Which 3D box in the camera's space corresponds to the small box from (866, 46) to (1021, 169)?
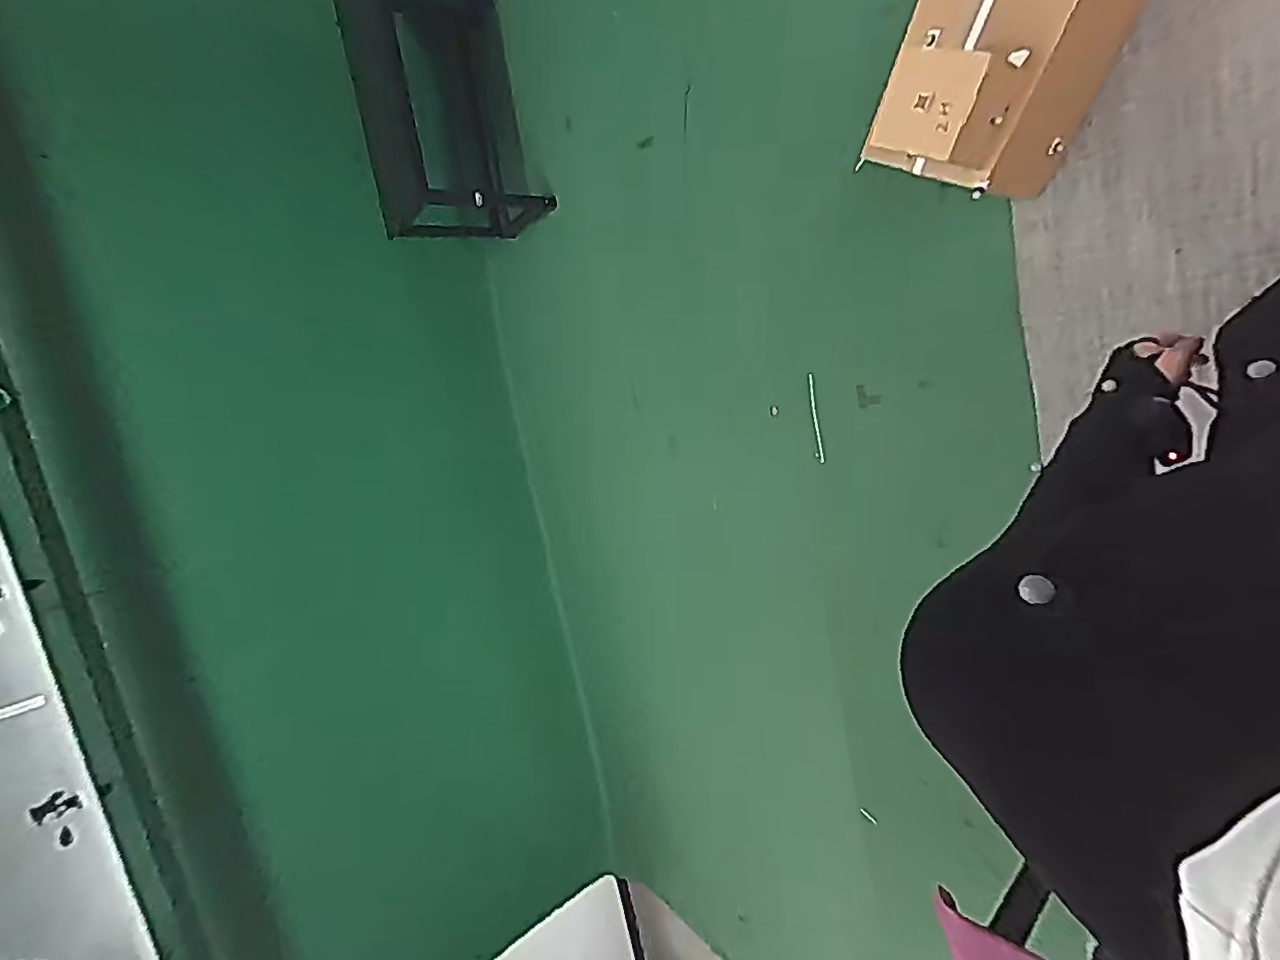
[{"bbox_3d":[0.591,-0.723,1.059,0.179,0.176,0.168,41,134,35],"label":"small box"}]
